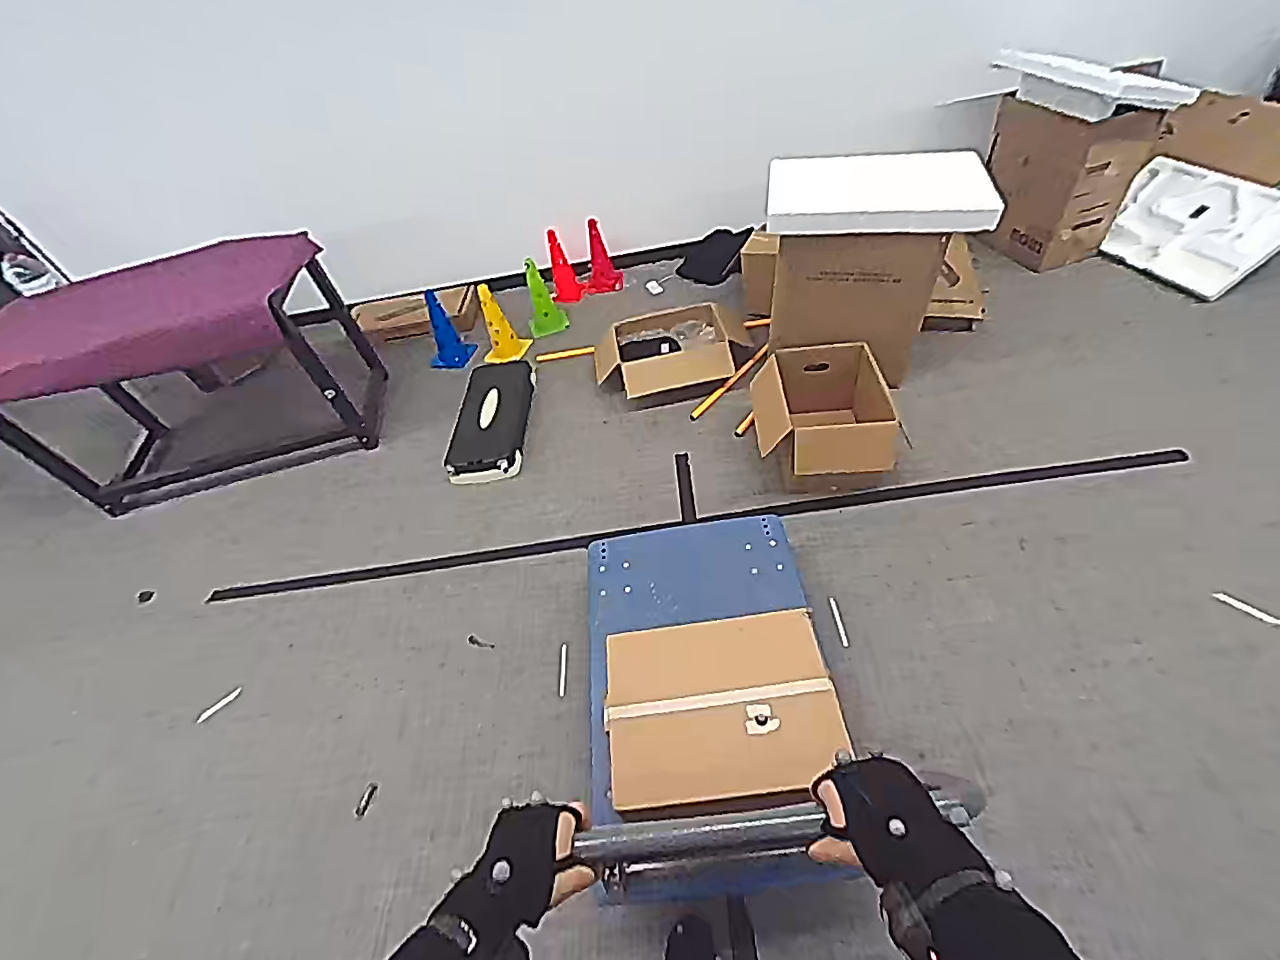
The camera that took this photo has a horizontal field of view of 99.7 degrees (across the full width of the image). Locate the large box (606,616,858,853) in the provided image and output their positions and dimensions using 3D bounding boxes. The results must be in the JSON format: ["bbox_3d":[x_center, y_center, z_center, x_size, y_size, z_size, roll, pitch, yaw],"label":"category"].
[{"bbox_3d":[0.159,0.508,1.073,0.408,0.320,0.320,-8,47,2],"label":"large box"}]
